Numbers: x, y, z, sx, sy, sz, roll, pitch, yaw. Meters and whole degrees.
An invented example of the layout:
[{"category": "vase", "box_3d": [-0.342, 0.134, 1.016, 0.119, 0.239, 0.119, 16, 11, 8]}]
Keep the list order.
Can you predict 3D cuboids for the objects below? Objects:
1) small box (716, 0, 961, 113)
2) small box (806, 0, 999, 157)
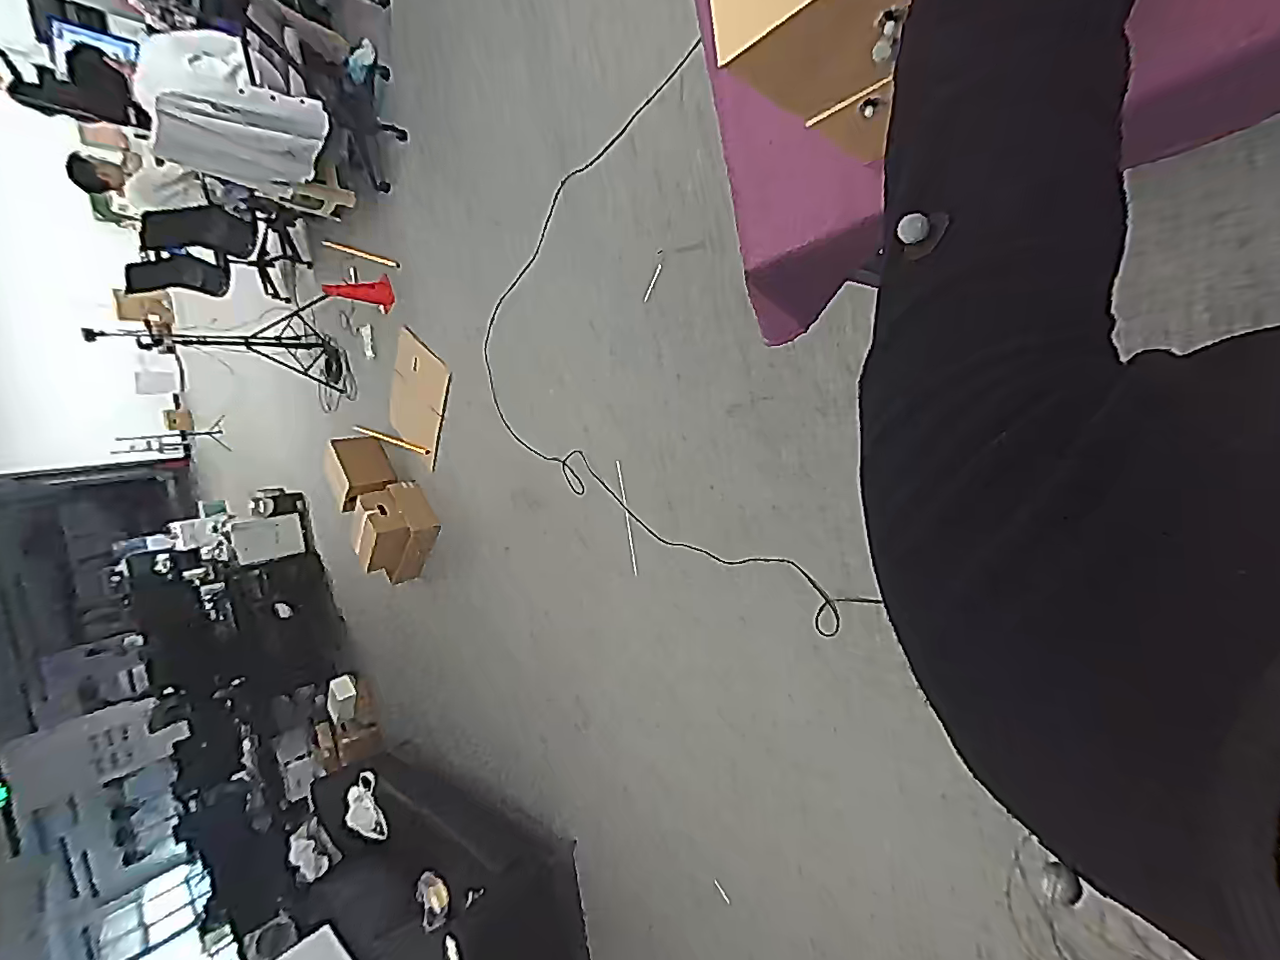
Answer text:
[{"category": "small box", "box_3d": [0.185, -0.489, 0.504, 0.179, 0.176, 0.168, -3, 97, 44]}, {"category": "small box", "box_3d": [0.296, -0.515, 0.622, 0.168, 0.176, 0.179, -4, 95, 45]}]
